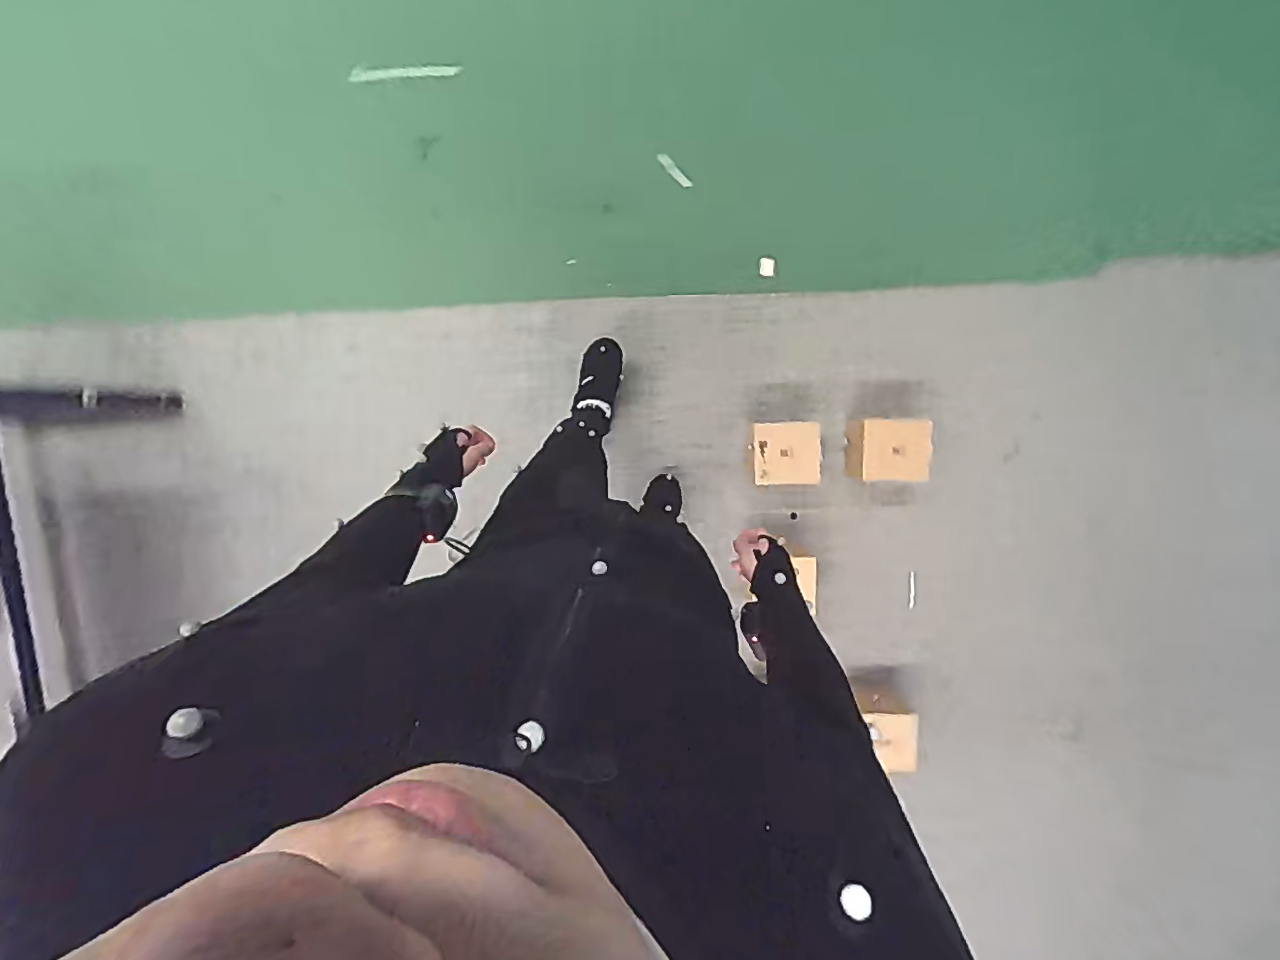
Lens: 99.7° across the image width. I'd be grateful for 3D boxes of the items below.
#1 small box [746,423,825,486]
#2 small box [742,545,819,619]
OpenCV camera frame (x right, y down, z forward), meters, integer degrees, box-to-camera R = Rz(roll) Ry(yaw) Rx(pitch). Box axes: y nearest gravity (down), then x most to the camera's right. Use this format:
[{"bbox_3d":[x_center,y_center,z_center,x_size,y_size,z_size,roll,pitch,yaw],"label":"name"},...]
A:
[{"bbox_3d":[0.395,-0.074,1.491,0.179,0.176,0.168,0,96,2],"label":"small box"},{"bbox_3d":[0.392,0.282,1.529,0.179,0.176,0.168,1,96,3],"label":"small box"}]
